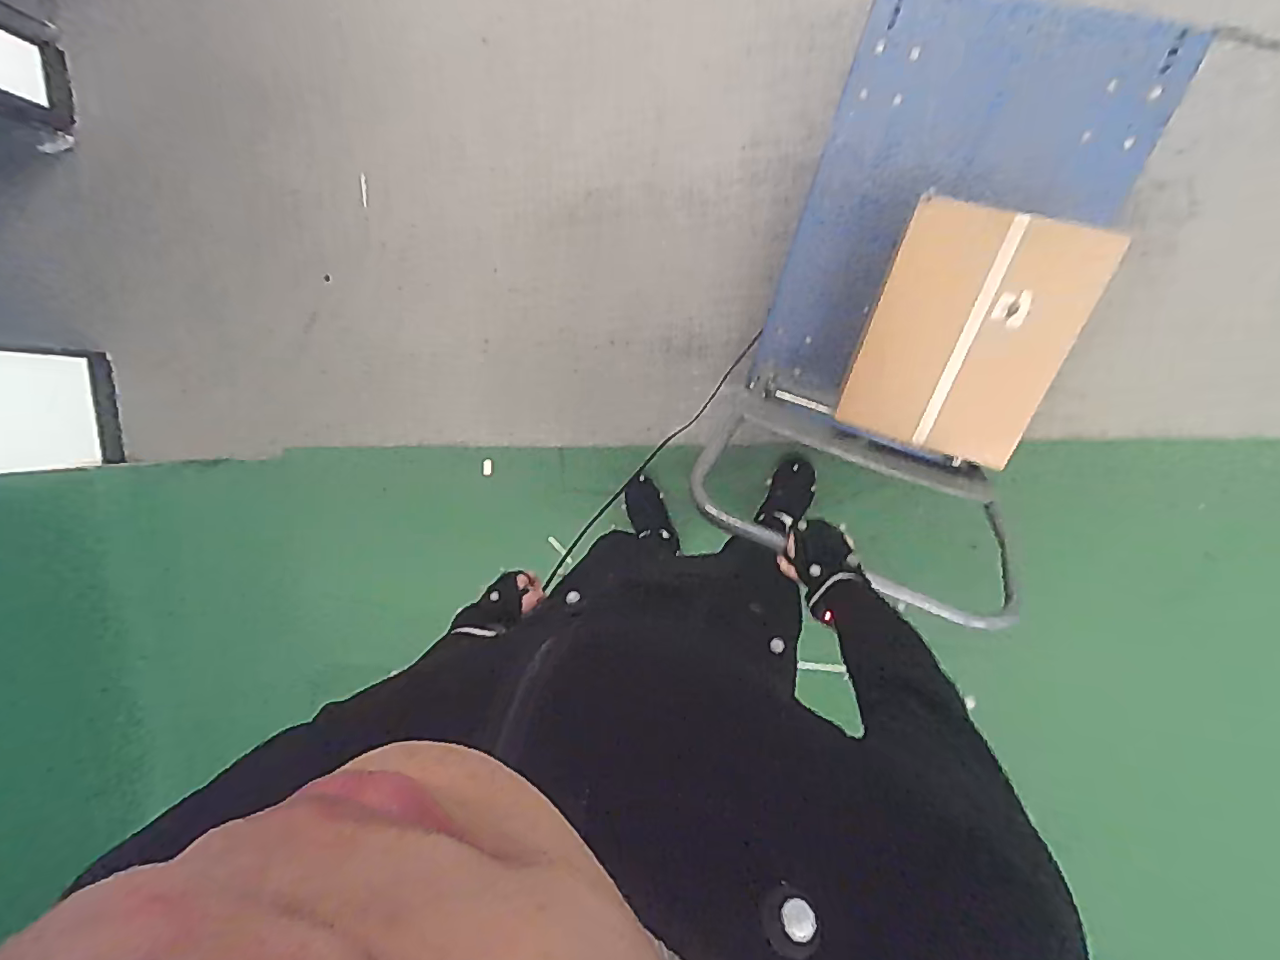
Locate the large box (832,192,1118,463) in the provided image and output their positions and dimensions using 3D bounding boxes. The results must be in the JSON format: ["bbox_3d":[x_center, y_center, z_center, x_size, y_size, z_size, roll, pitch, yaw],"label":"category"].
[{"bbox_3d":[0.608,-0.300,1.074,0.320,0.320,0.408,21,115,13],"label":"large box"}]
